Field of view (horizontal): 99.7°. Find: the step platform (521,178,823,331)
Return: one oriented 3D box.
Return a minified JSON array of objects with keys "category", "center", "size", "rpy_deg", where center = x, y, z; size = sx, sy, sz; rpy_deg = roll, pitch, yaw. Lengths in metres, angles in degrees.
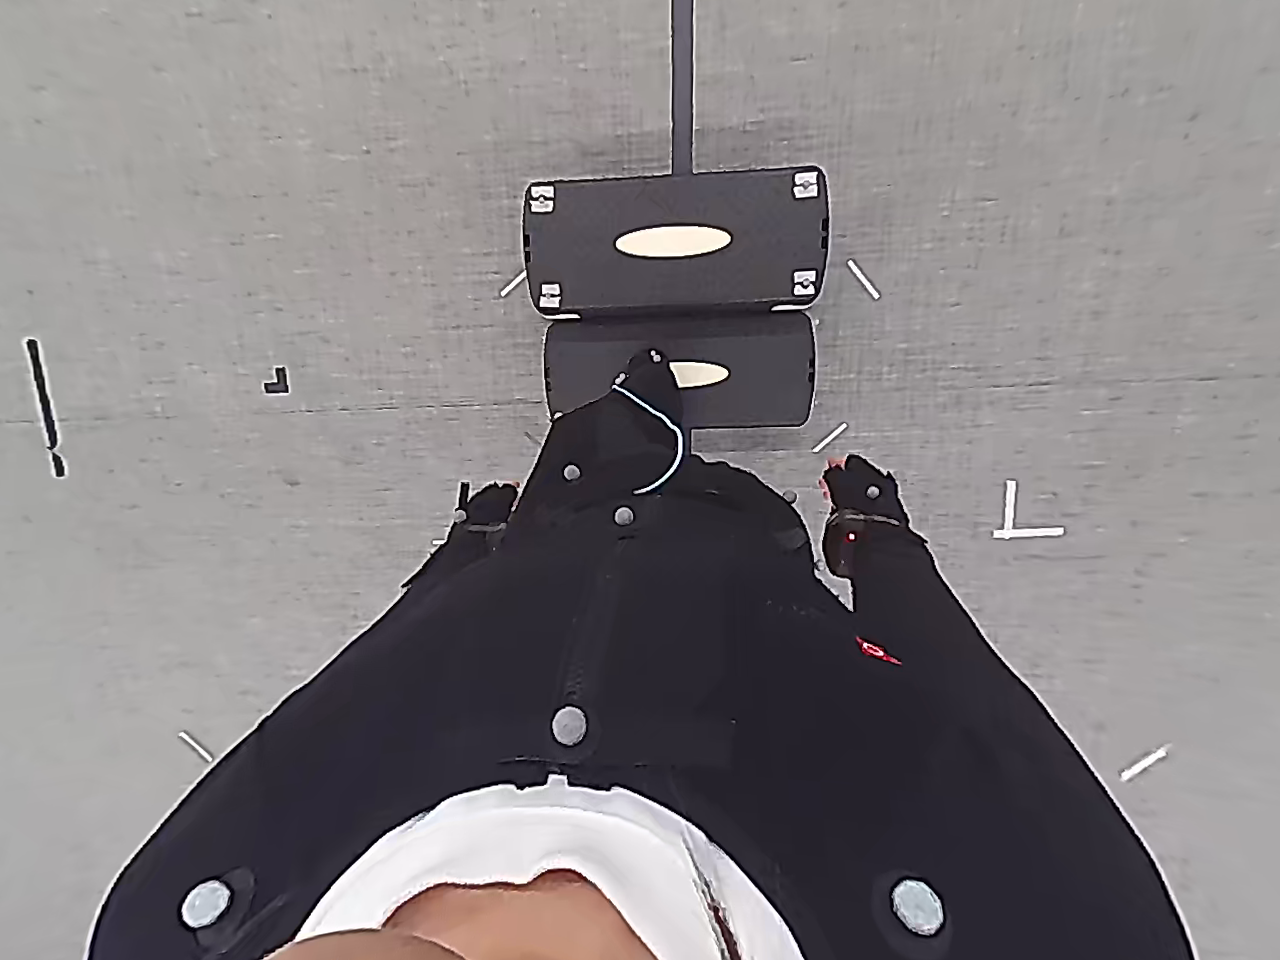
[{"category":"step platform","center":[0.069,-0.516,1.269],"size":[0.684,0.204,0.286],"rpy_deg":[-2,103,4]}]
